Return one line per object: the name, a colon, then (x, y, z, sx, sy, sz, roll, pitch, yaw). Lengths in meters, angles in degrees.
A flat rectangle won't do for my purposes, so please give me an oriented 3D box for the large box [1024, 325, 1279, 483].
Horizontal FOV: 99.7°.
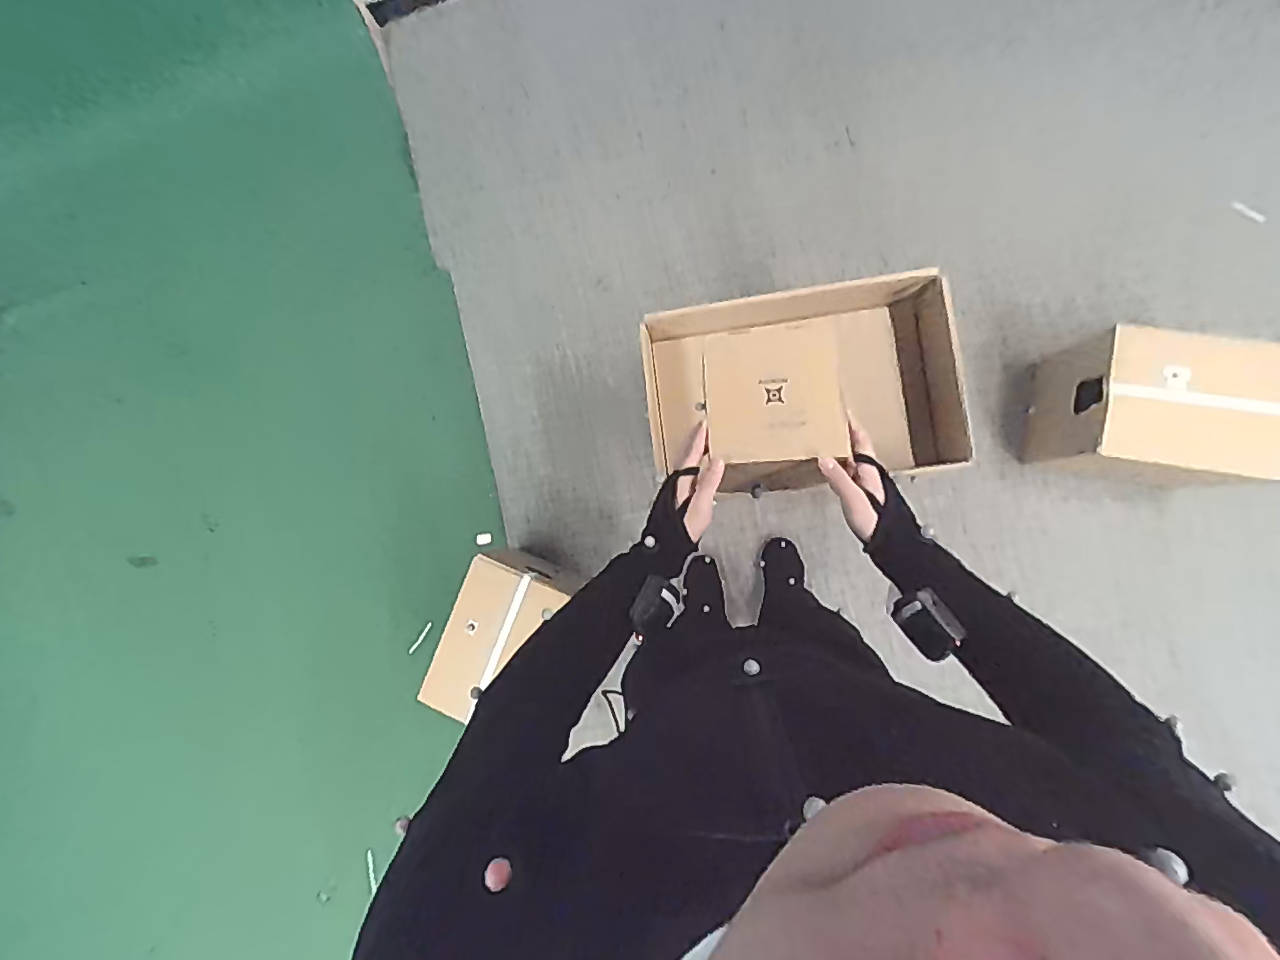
large box: (1.287, -0.174, 1.365, 0.408, 0.320, 0.320, 9, 87, 8)
